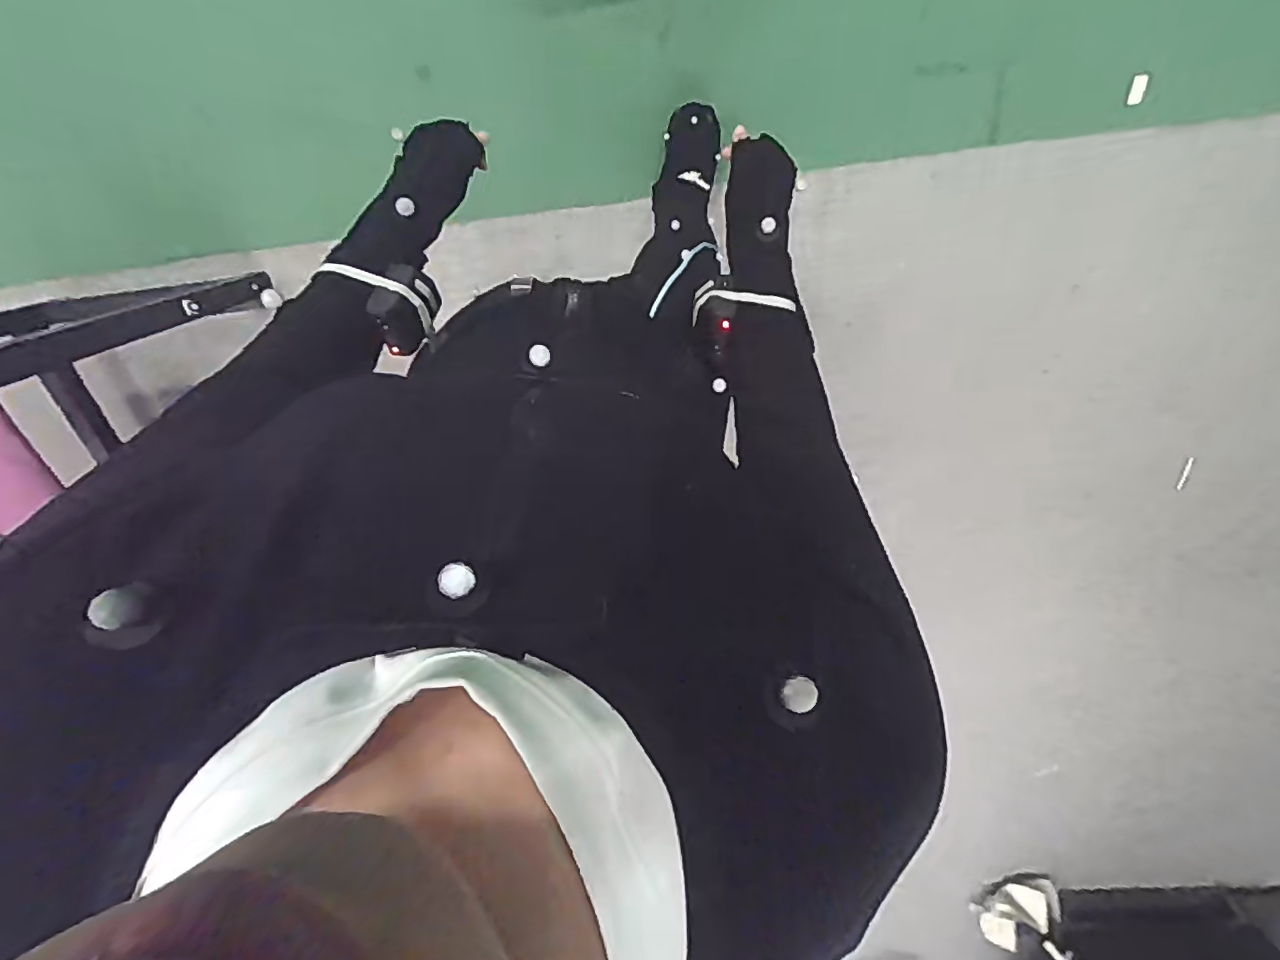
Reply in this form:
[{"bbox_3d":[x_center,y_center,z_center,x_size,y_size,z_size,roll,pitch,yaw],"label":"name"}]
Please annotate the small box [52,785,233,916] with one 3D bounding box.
[{"bbox_3d":[-0.997,0.752,1.104,0.179,0.176,0.168,-5,120,4],"label":"small box"}]
